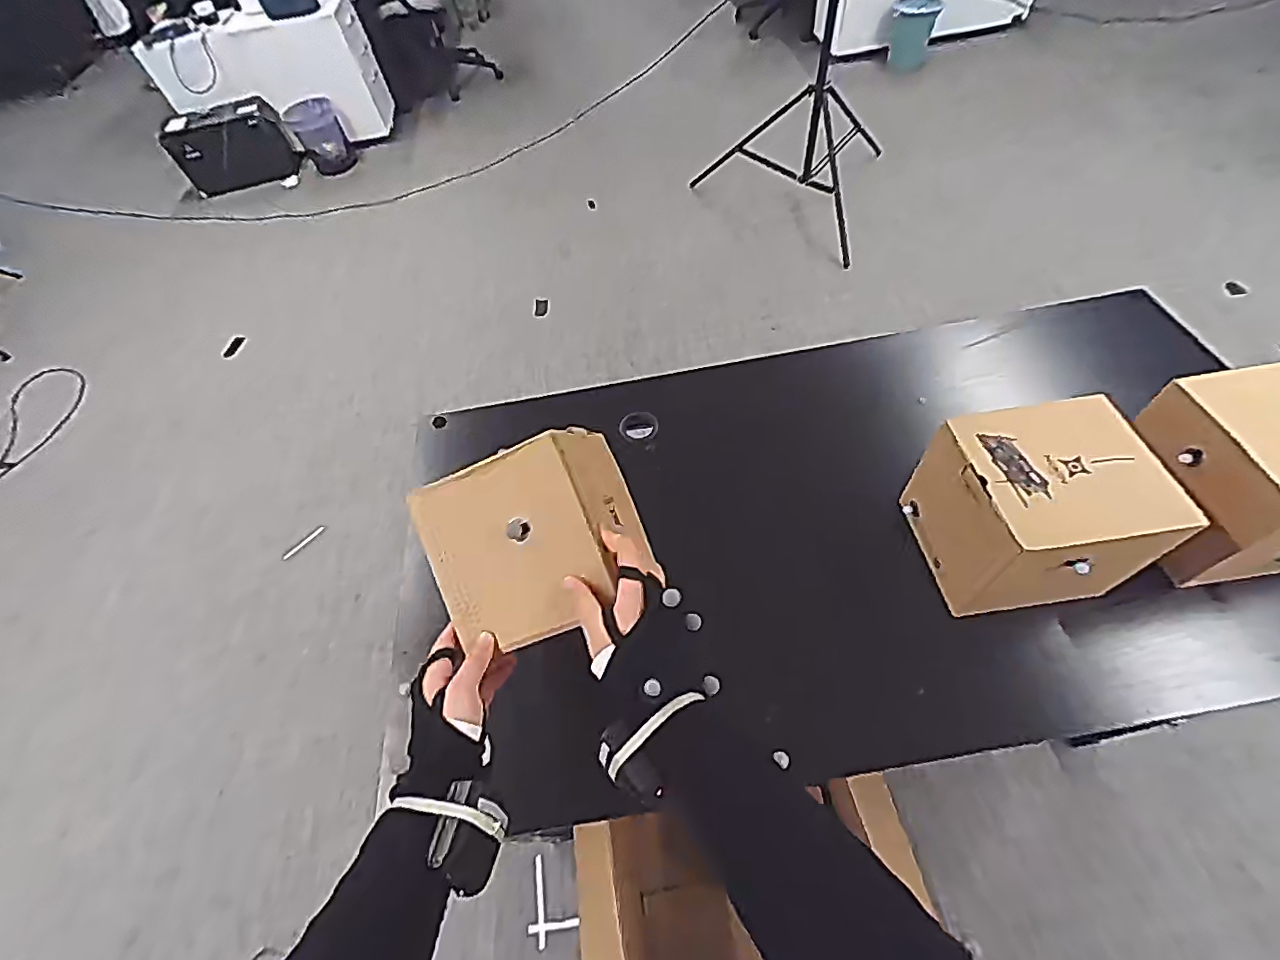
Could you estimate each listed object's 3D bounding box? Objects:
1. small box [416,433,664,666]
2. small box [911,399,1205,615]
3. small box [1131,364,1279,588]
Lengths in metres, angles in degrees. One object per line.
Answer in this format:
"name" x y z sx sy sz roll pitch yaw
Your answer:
"small box" -0.100 0.067 0.574 0.176 0.168 0.179 -26 86 16
"small box" 0.427 0.037 0.600 0.179 0.176 0.168 -8 55 1
"small box" 0.670 -0.003 0.595 0.168 0.176 0.179 -9 55 2
